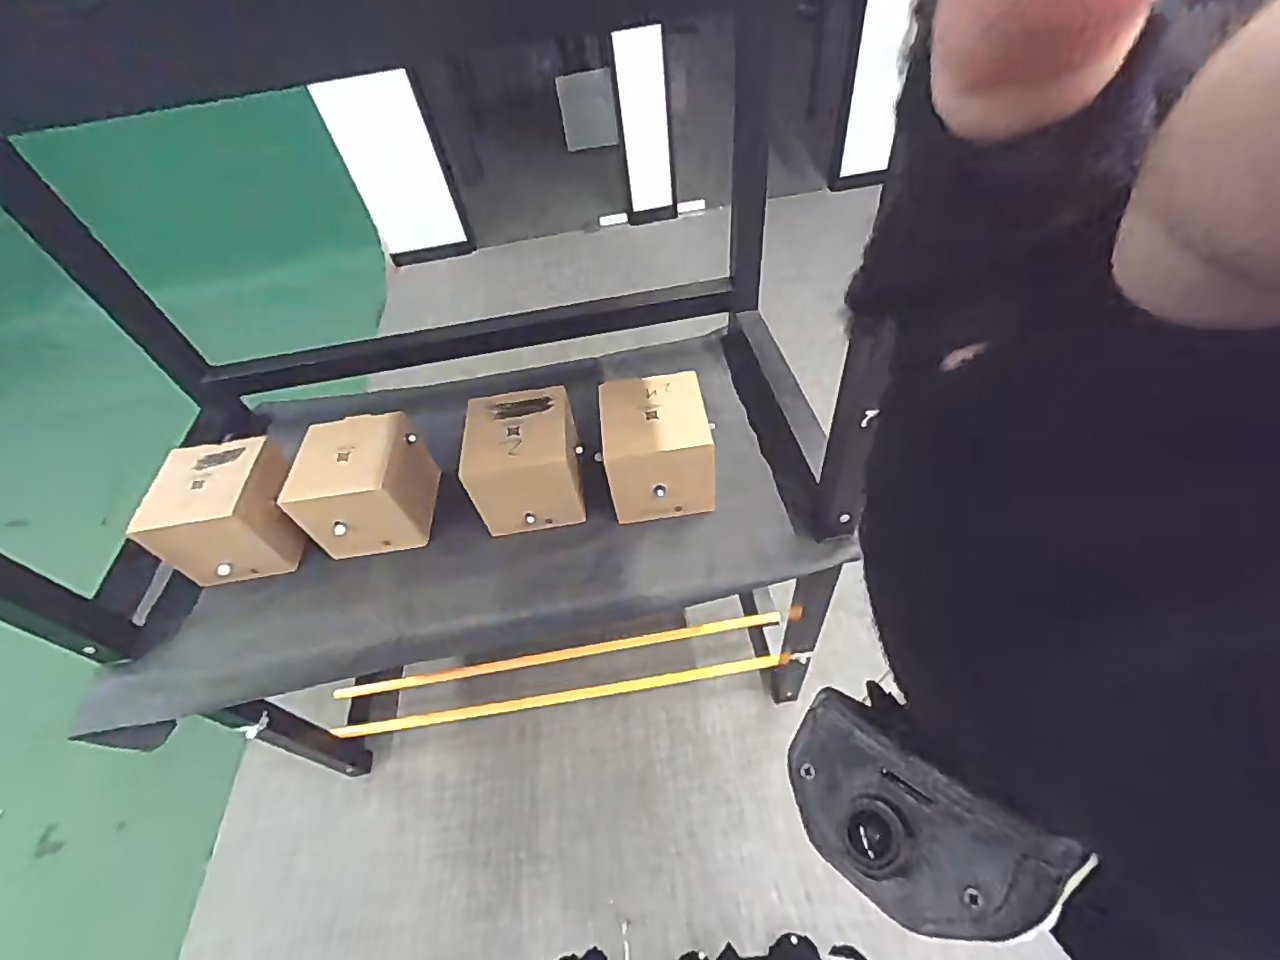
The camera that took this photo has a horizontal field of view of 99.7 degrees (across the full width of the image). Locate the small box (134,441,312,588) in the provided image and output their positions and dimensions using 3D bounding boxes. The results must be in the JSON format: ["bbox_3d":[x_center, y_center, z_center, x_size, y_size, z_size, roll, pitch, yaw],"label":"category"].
[{"bbox_3d":[-0.689,0.060,0.932,0.168,0.176,0.179,-9,50,0],"label":"small box"}]

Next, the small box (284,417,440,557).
[{"bbox_3d":[-0.465,0.019,0.939,0.168,0.176,0.179,-8,49,1],"label":"small box"}]

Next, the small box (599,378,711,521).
[{"bbox_3d":[0.027,-0.044,0.919,0.168,0.176,0.179,-8,48,1],"label":"small box"}]
